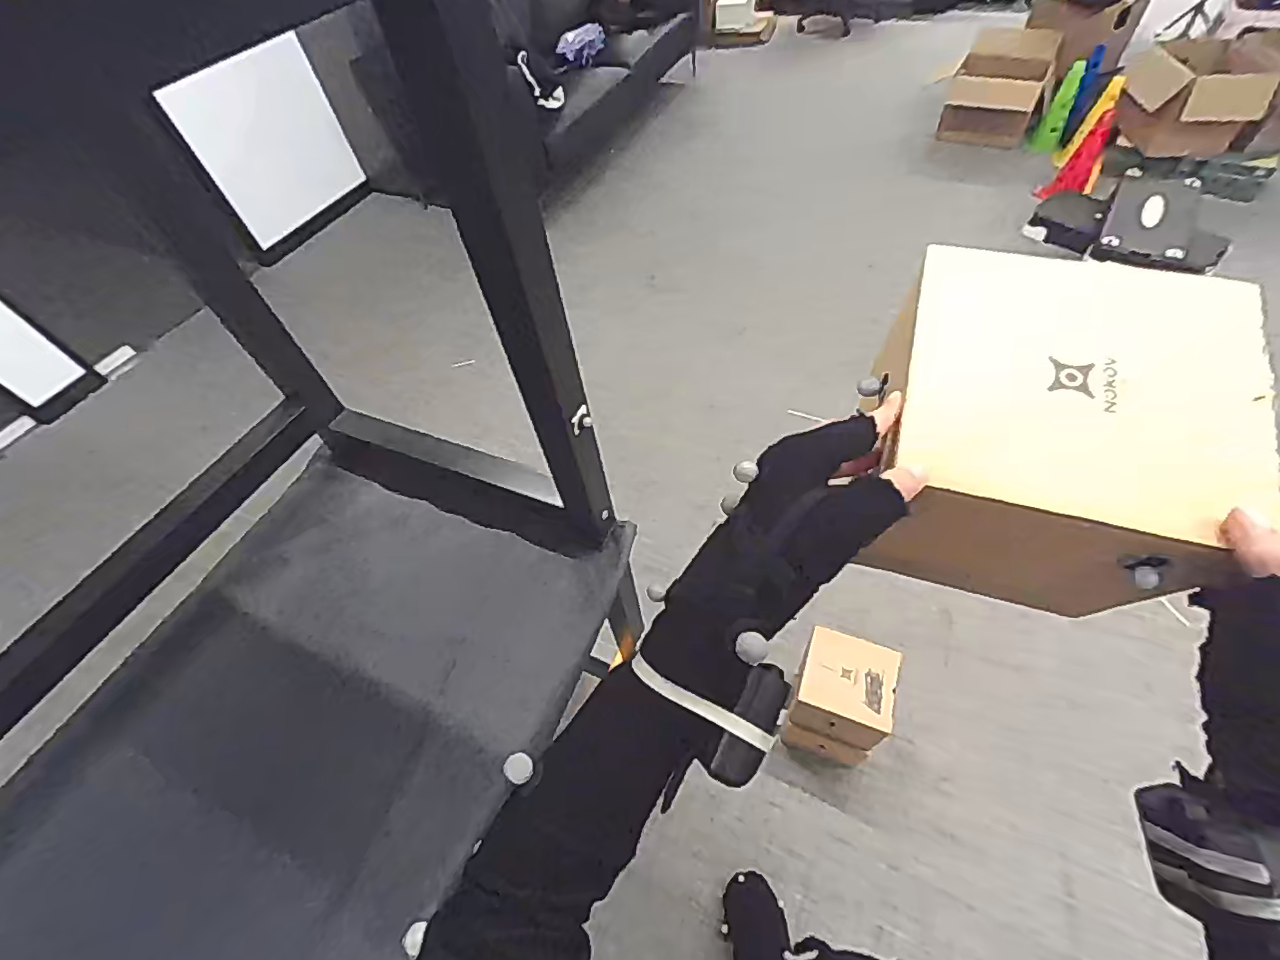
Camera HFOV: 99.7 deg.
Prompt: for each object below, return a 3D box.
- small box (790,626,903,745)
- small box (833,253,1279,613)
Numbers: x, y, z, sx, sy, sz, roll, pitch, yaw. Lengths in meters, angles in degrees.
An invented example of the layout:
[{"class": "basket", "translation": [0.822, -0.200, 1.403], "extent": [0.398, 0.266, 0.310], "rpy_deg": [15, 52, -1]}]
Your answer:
[{"class": "small box", "translation": [0.427, 0.436, 1.134], "extent": [0.179, 0.176, 0.168], "rpy_deg": [15, 57, 19]}, {"class": "small box", "translation": [0.240, -0.019, 0.361], "extent": [0.179, 0.176, 0.168], "rpy_deg": [13, 72, 13]}]
